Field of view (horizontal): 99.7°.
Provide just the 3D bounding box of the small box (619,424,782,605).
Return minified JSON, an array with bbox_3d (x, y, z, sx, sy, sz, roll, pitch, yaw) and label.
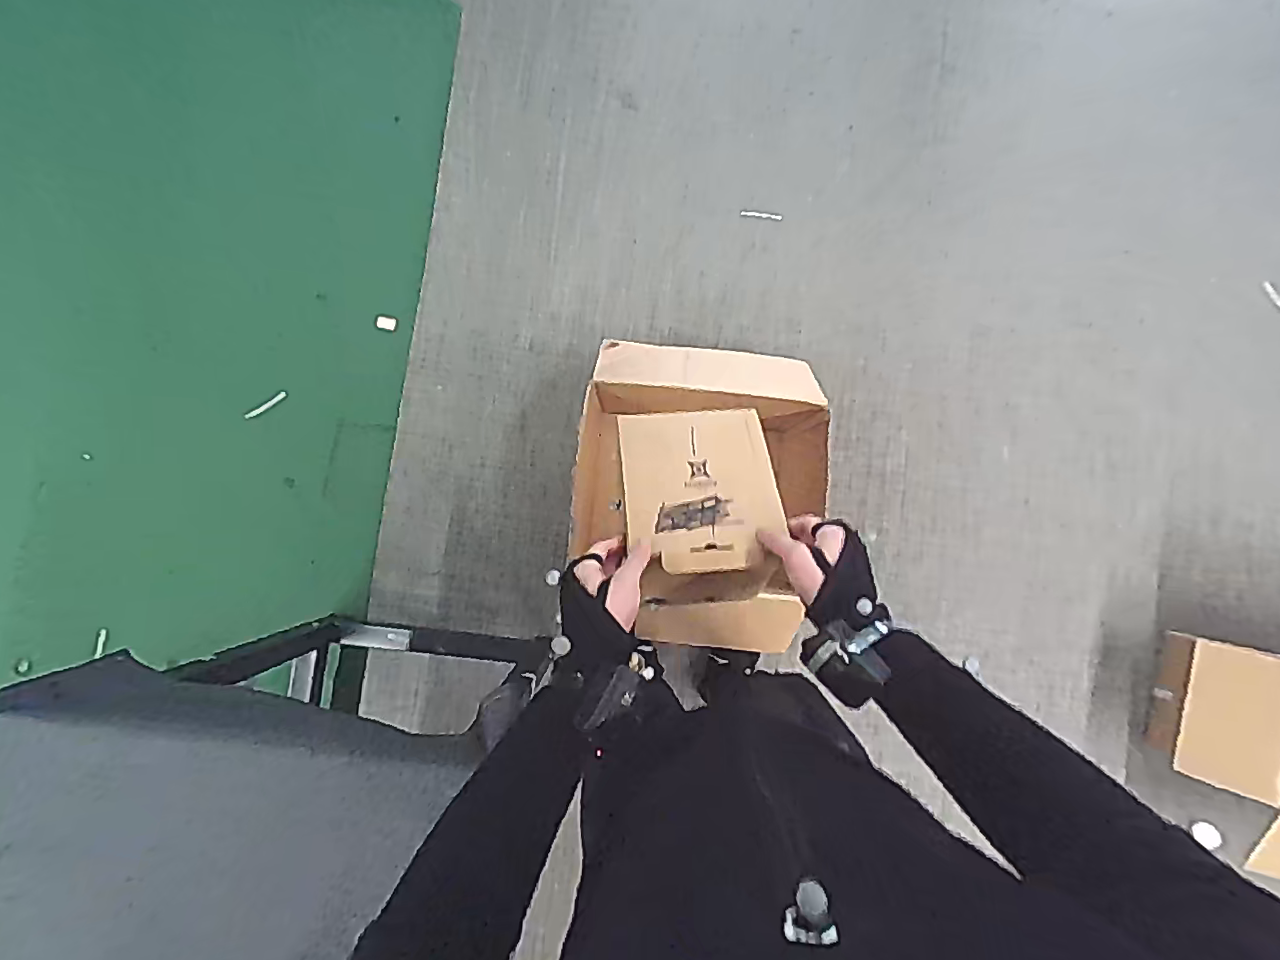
[{"bbox_3d":[0.060,0.050,0.670,0.168,0.176,0.179,-1,57,-5],"label":"small box"}]
